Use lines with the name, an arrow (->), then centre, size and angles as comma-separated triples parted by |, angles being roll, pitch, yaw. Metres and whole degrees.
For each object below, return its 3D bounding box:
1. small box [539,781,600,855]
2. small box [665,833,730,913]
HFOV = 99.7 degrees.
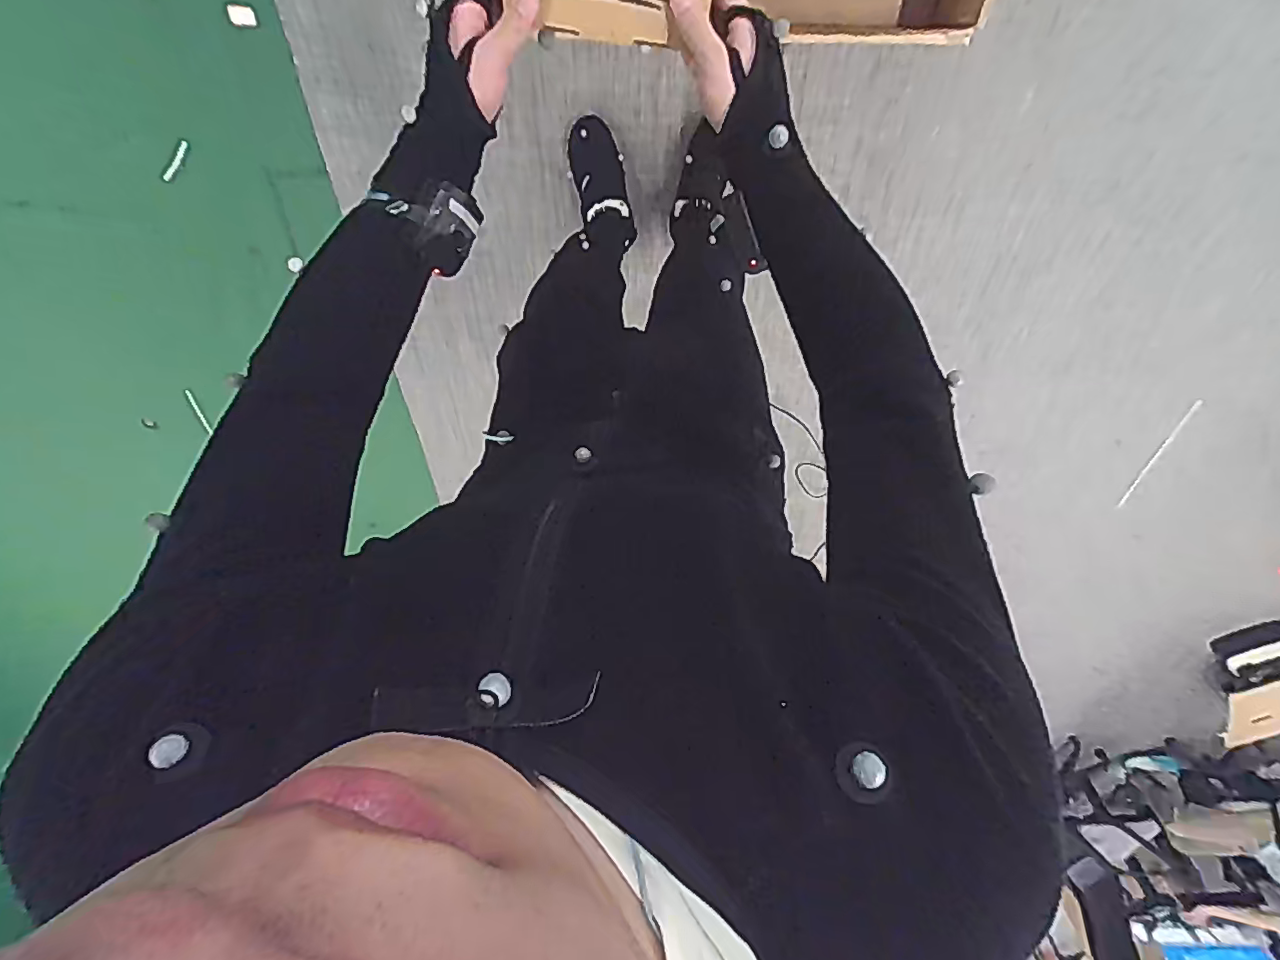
small box -> -0.224, 1.108, 1.774 | 0.179, 0.176, 0.168 | -2, 131, 0
small box -> 0.171, 1.198, 1.651 | 0.179, 0.176, 0.168 | -2, 130, 1
